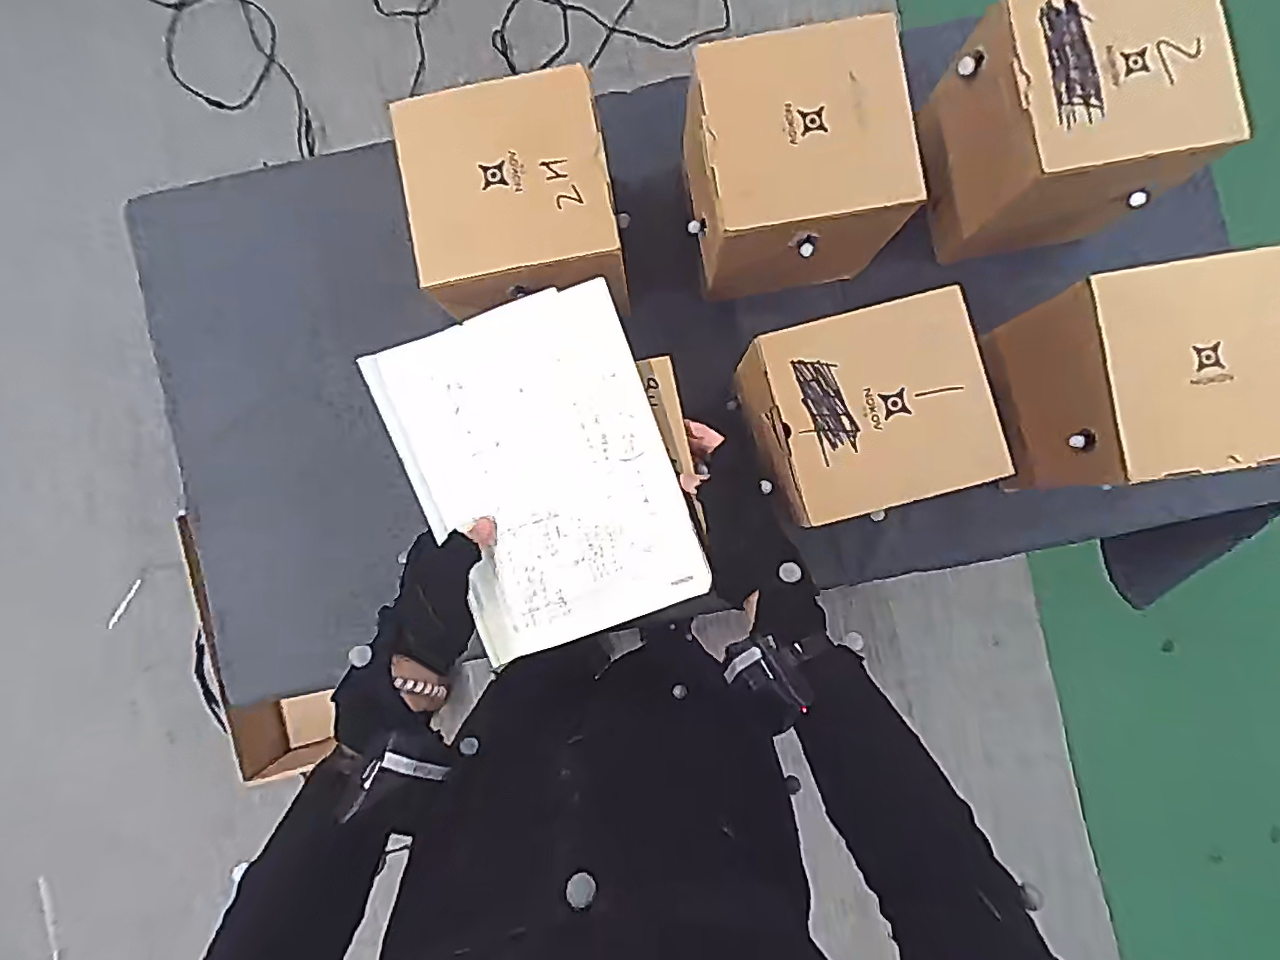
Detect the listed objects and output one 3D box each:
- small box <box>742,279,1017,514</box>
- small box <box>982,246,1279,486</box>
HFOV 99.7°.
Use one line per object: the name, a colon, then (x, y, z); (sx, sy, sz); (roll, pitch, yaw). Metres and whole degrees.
small box: (0.204, -0.064, 0.521); (0.179, 0.176, 0.168); (-14, 87, 0)
small box: (0.465, -0.093, 0.519); (0.168, 0.176, 0.179); (-8, 87, 1)
